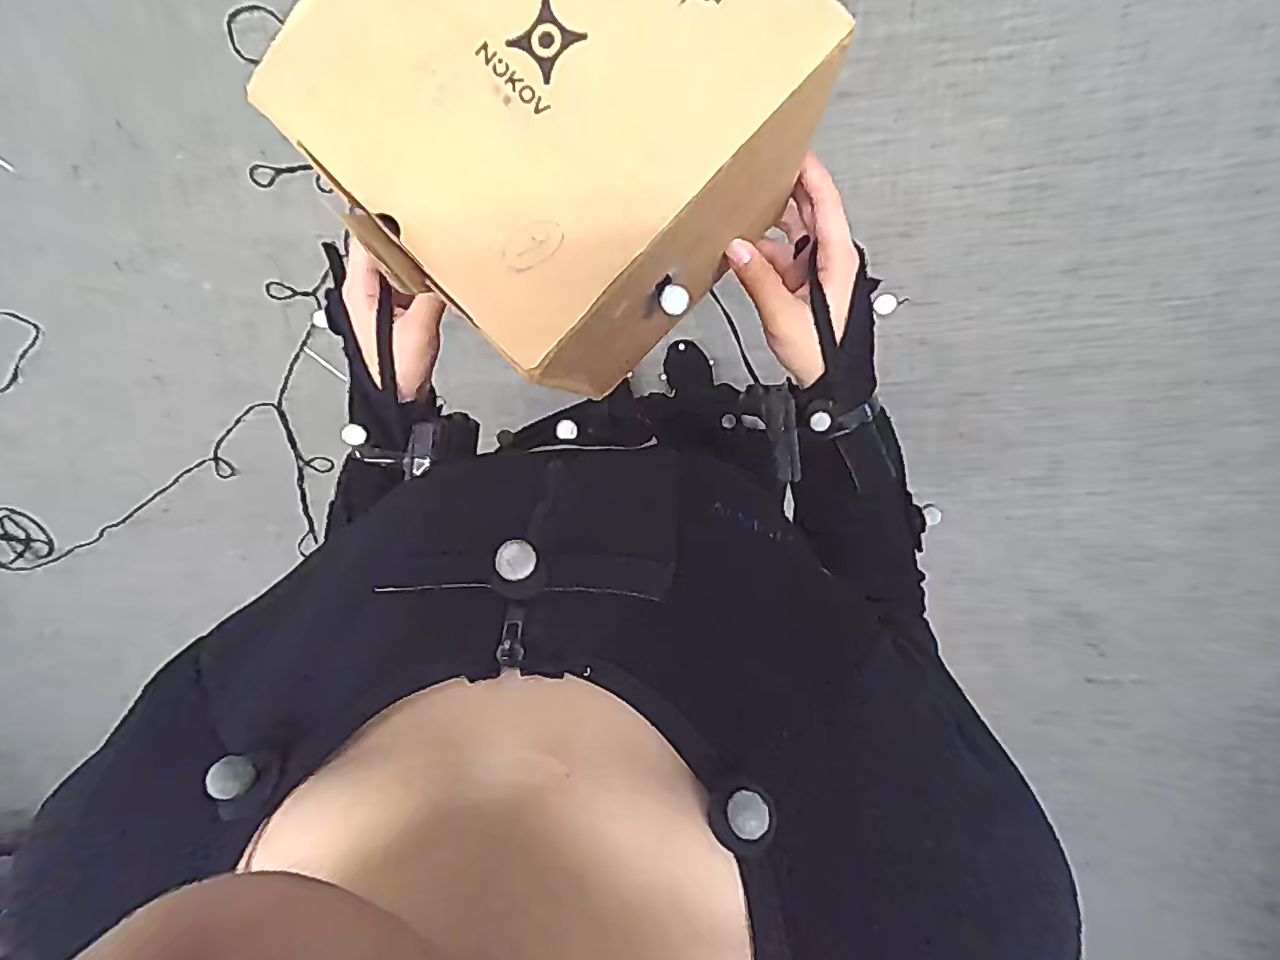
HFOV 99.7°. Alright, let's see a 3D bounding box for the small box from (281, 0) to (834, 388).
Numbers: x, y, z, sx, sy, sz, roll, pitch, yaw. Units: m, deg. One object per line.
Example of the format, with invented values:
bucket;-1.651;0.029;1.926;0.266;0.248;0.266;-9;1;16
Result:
small box;-0.030;-0.167;0.297;0.168;0.176;0.179;45;99;0
